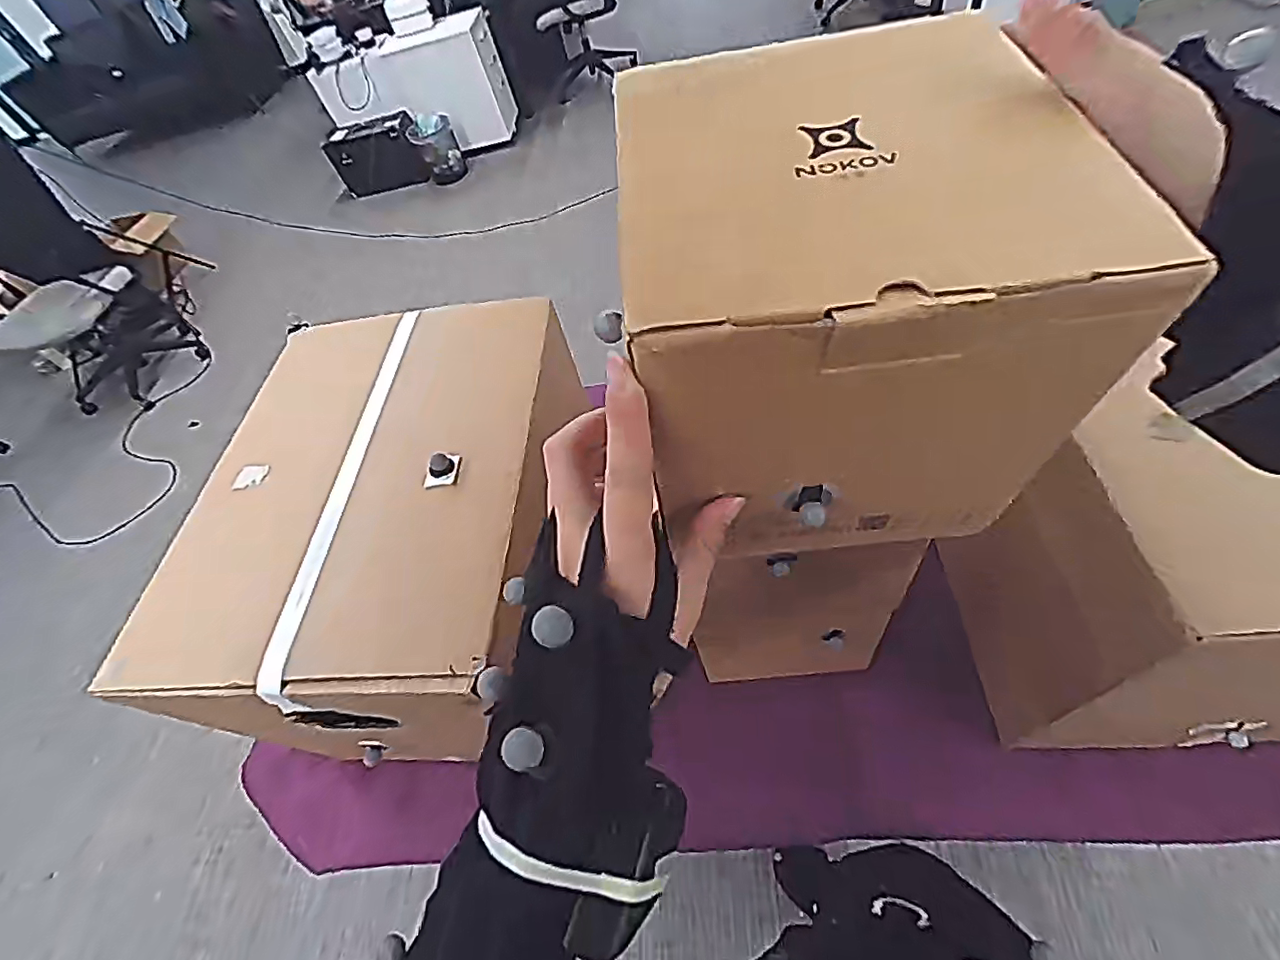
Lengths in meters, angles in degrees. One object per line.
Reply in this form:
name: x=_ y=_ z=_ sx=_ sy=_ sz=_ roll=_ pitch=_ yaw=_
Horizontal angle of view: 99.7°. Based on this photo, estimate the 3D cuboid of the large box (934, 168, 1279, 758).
large box: x=0.466 y=-0.004 z=0.483 sx=0.320 sy=0.320 sz=0.408 roll=-6 pitch=53 yaw=10

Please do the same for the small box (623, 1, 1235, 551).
small box: x=0.083 y=-0.083 z=0.261 sx=0.168 sy=0.176 sz=0.179 roll=-6 pitch=58 yaw=5
